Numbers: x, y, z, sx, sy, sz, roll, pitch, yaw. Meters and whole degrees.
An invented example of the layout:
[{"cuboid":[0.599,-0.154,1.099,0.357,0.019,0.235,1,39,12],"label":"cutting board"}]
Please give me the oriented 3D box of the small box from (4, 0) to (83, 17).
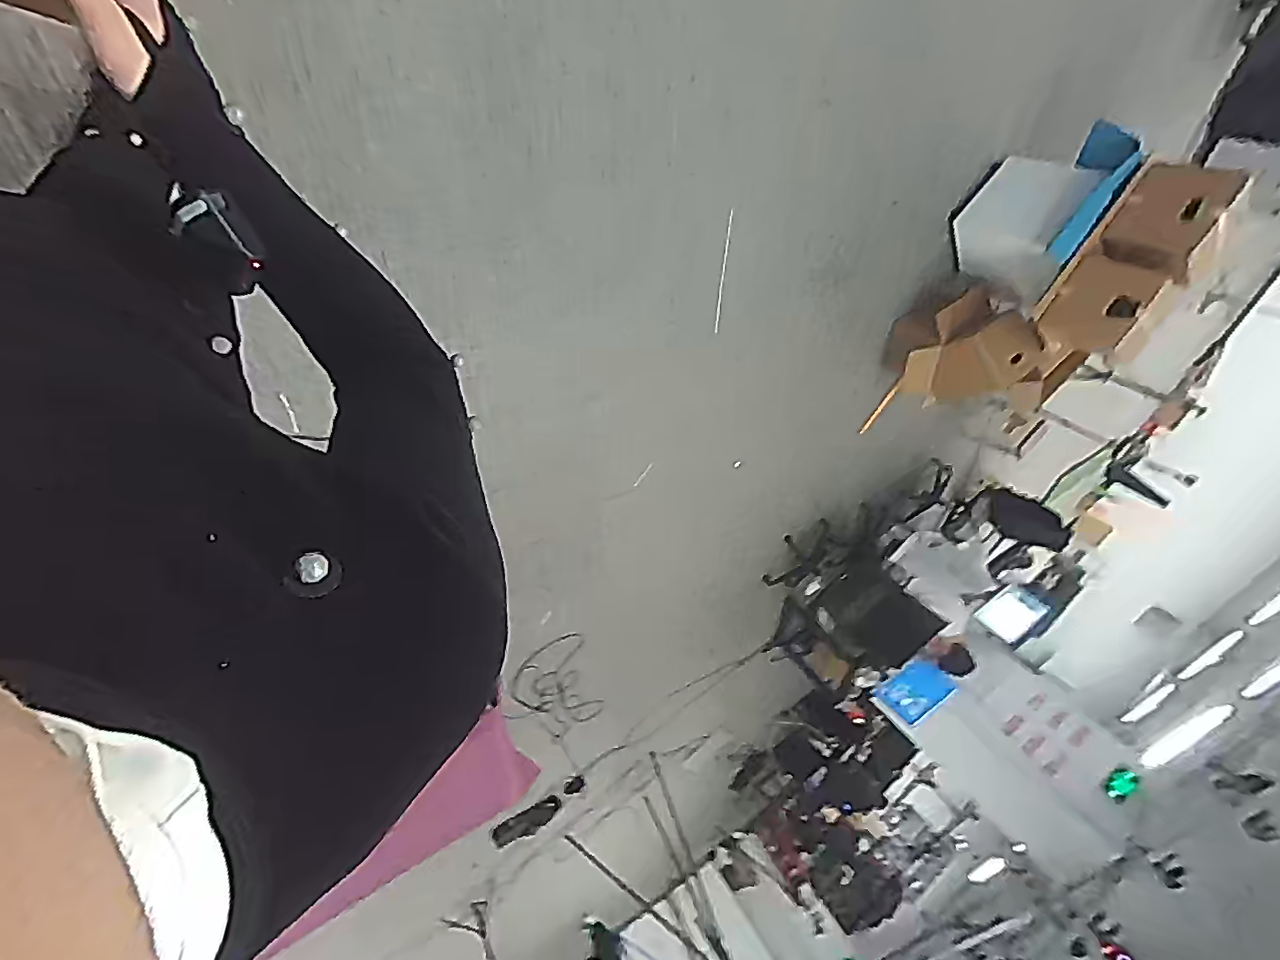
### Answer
[{"cuboid":[-0.479,-0.437,0.332,0.168,0.176,0.179,-5,116,-38],"label":"small box"}]
